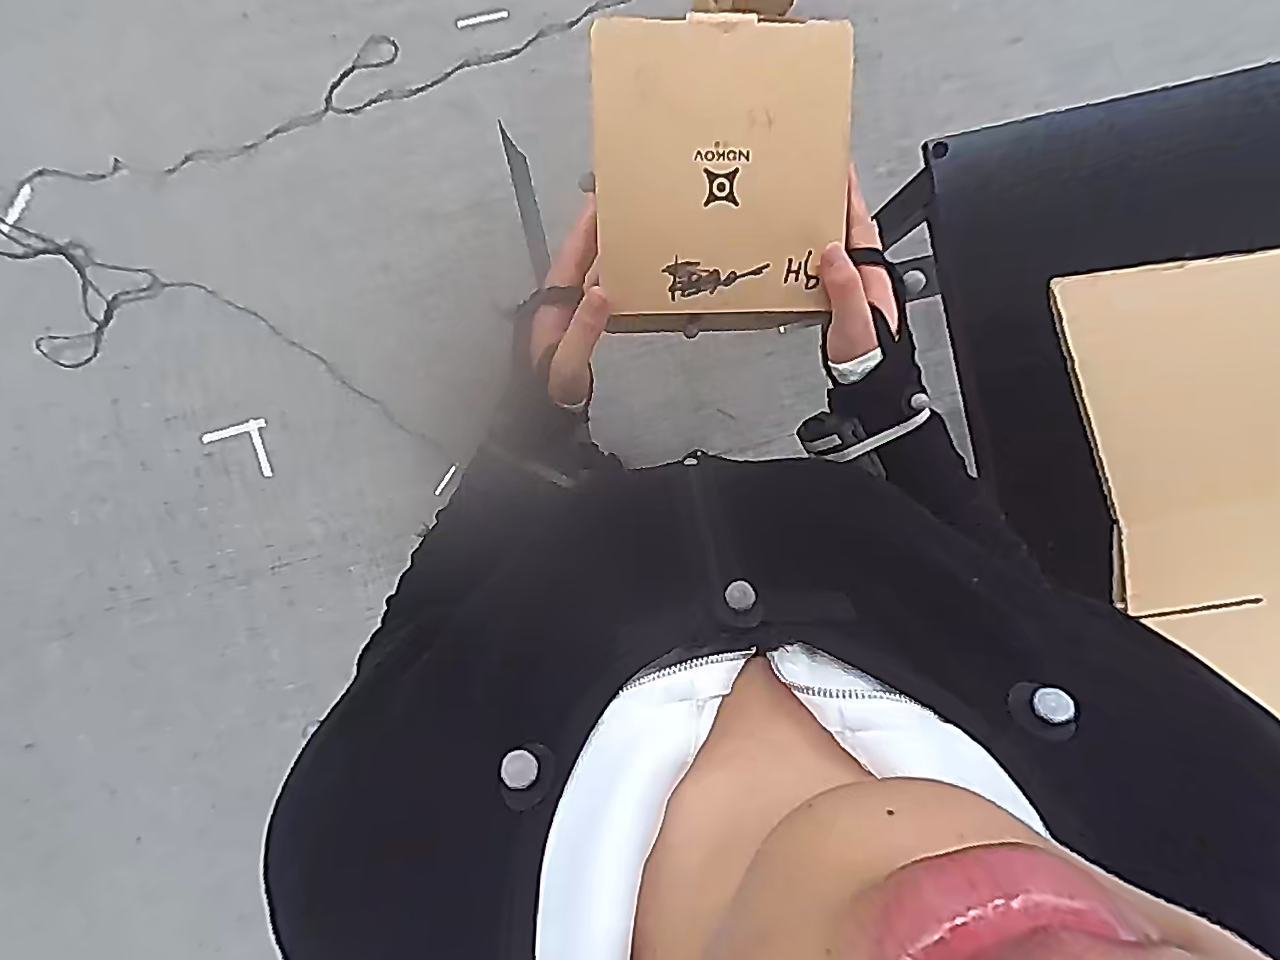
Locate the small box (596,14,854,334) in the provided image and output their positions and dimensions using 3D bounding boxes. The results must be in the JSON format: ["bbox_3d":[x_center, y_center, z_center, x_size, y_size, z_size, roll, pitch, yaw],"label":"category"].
[{"bbox_3d":[0.049,-0.214,0.426,0.168,0.176,0.179,-2,101,-3],"label":"small box"}]

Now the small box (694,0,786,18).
[{"bbox_3d":[0.240,-1.163,1.359,0.179,0.176,0.168,-17,93,0],"label":"small box"}]
